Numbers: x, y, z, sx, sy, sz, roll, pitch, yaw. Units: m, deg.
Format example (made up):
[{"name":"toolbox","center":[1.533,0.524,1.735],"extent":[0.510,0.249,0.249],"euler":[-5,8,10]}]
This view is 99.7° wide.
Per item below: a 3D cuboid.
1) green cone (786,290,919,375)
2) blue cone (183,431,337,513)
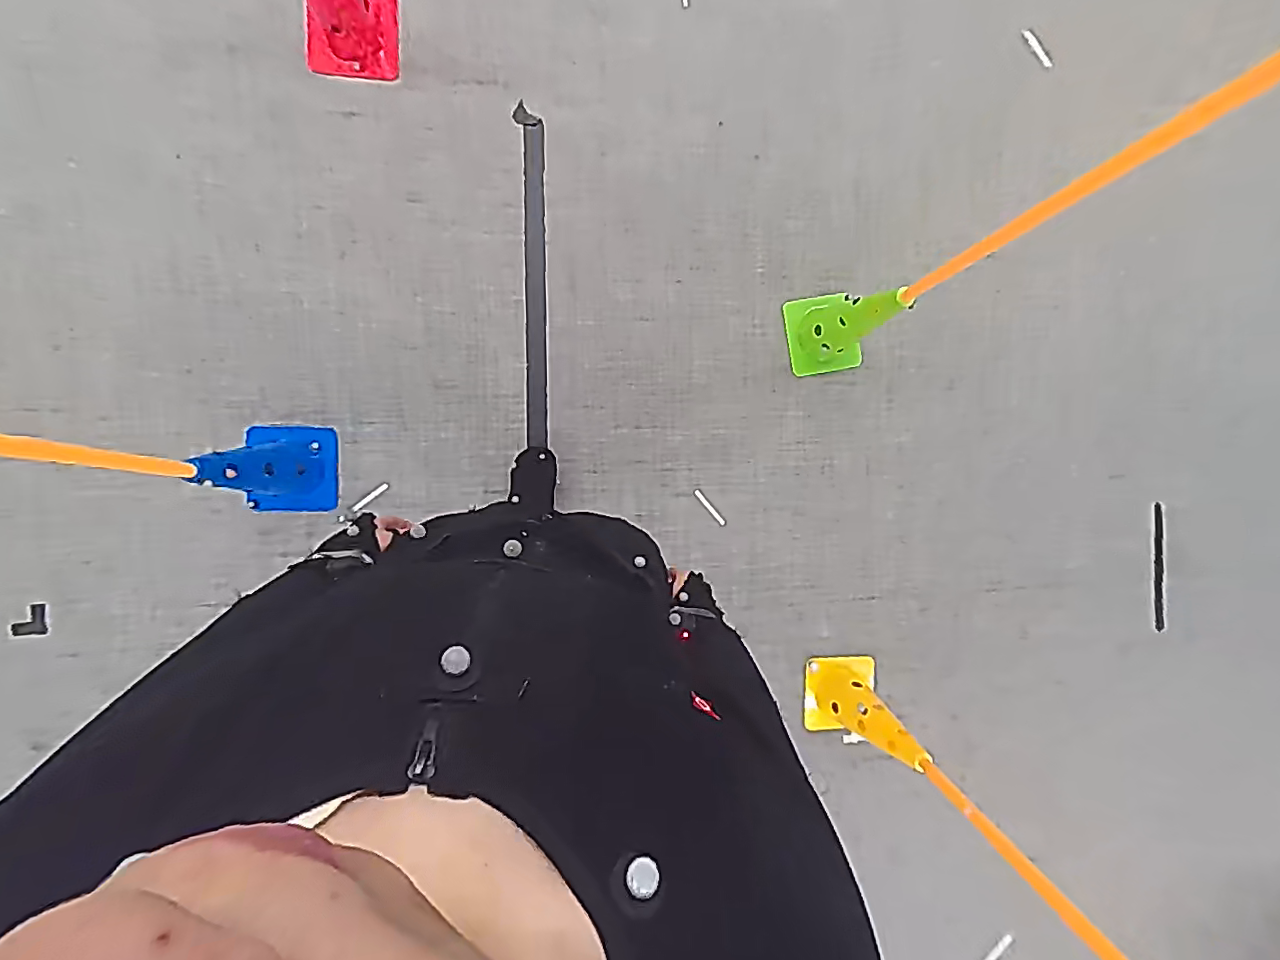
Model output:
[{"name":"green cone","center":[0.515,-0.380,1.265],"extent":[0.200,0.368,0.202],"euler":[-12,95,-7]},{"name":"blue cone","center":[-0.790,-0.012,1.106],"extent":[0.193,0.380,0.192],"euler":[2,92,-8]}]
